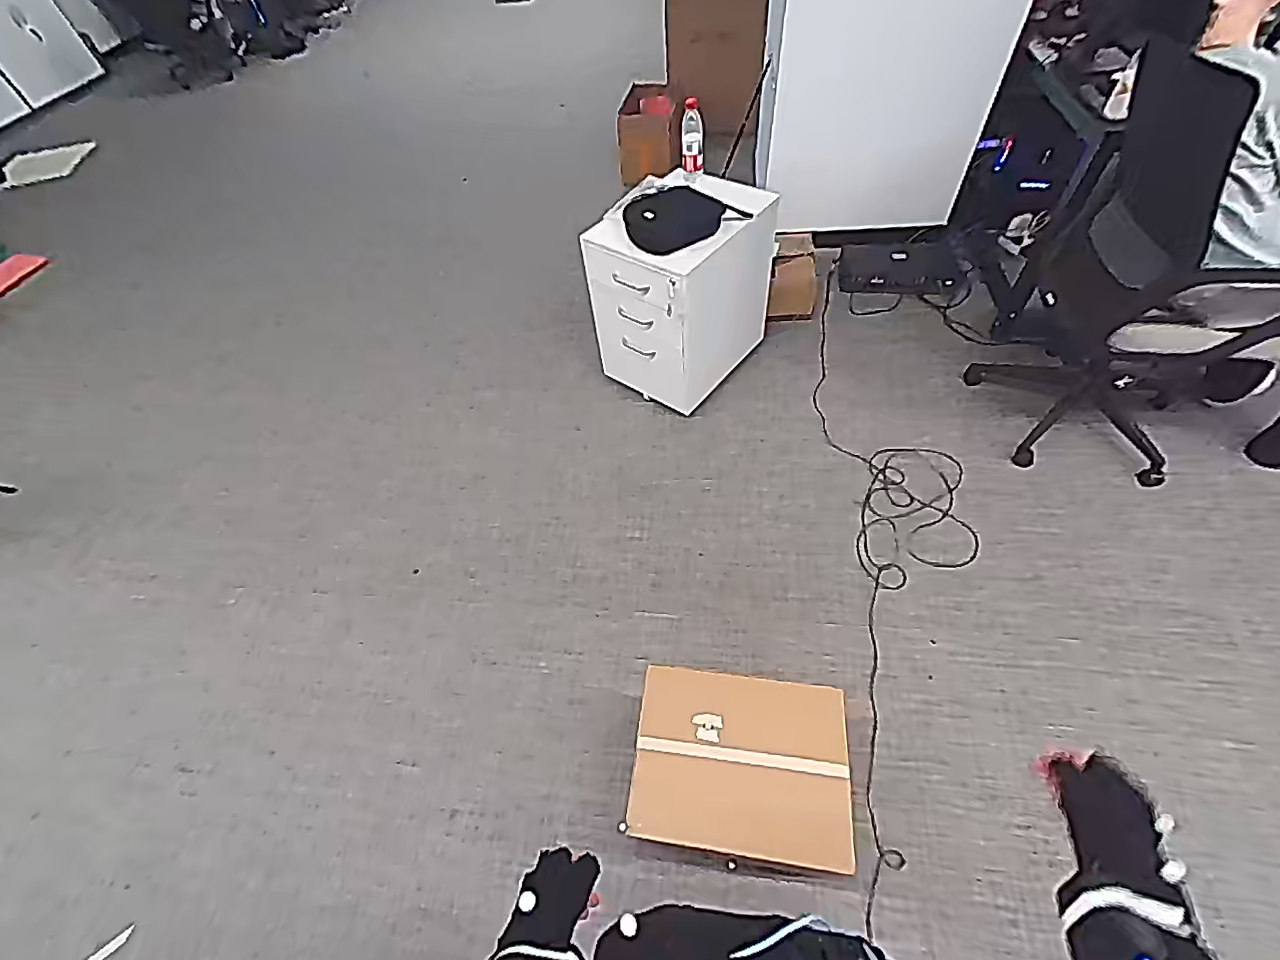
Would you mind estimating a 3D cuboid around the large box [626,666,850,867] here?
[{"bbox_3d":[0.204,0.621,1.168,0.408,0.320,0.320,4,54,9],"label":"large box"}]
